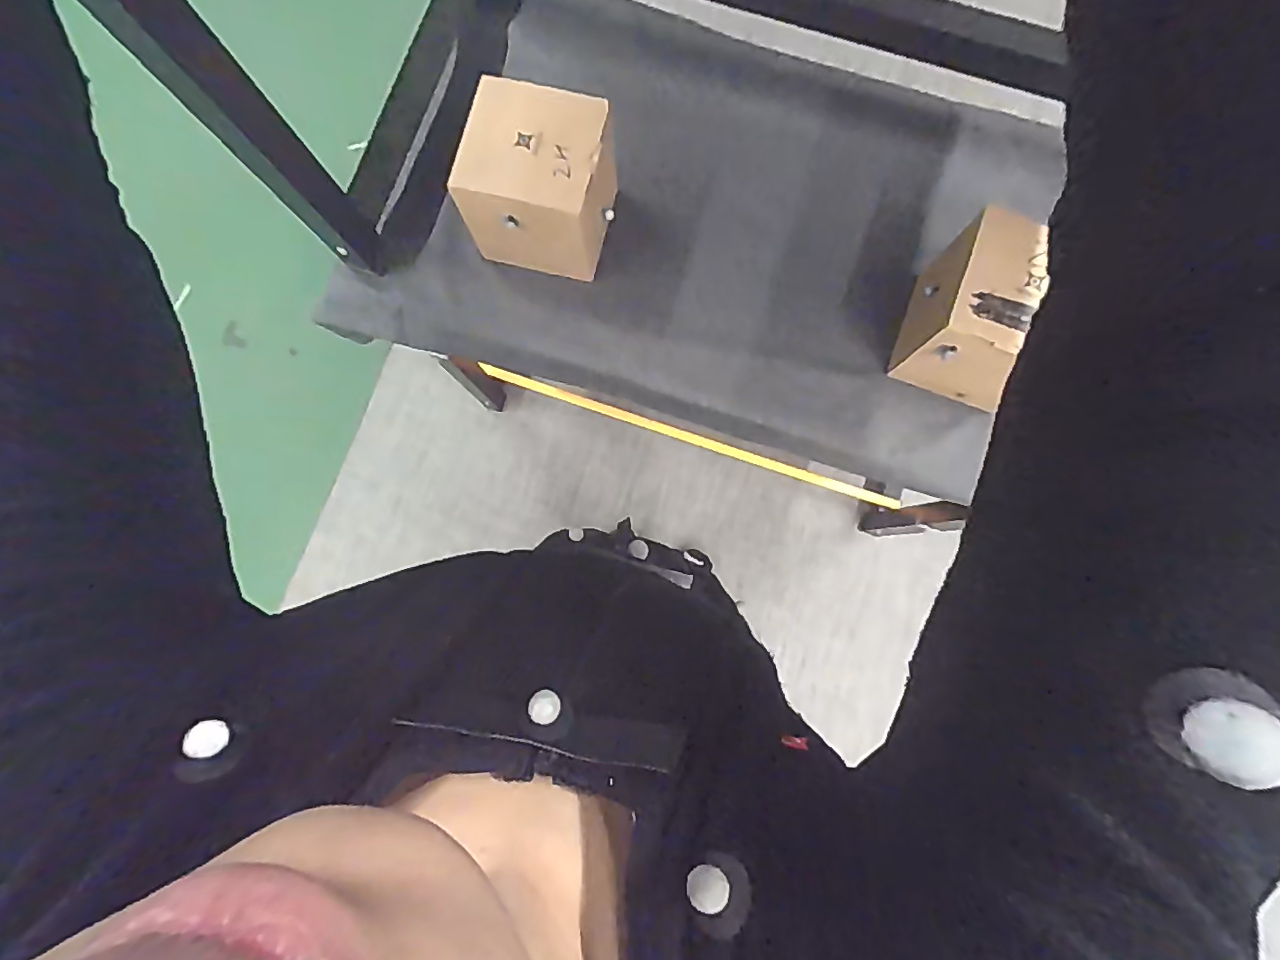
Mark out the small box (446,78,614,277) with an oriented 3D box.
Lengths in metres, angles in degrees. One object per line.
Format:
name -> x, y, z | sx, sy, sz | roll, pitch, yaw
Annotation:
small box -> -0.142, -0.414, 0.767 | 0.179, 0.176, 0.168 | 14, 82, 1
